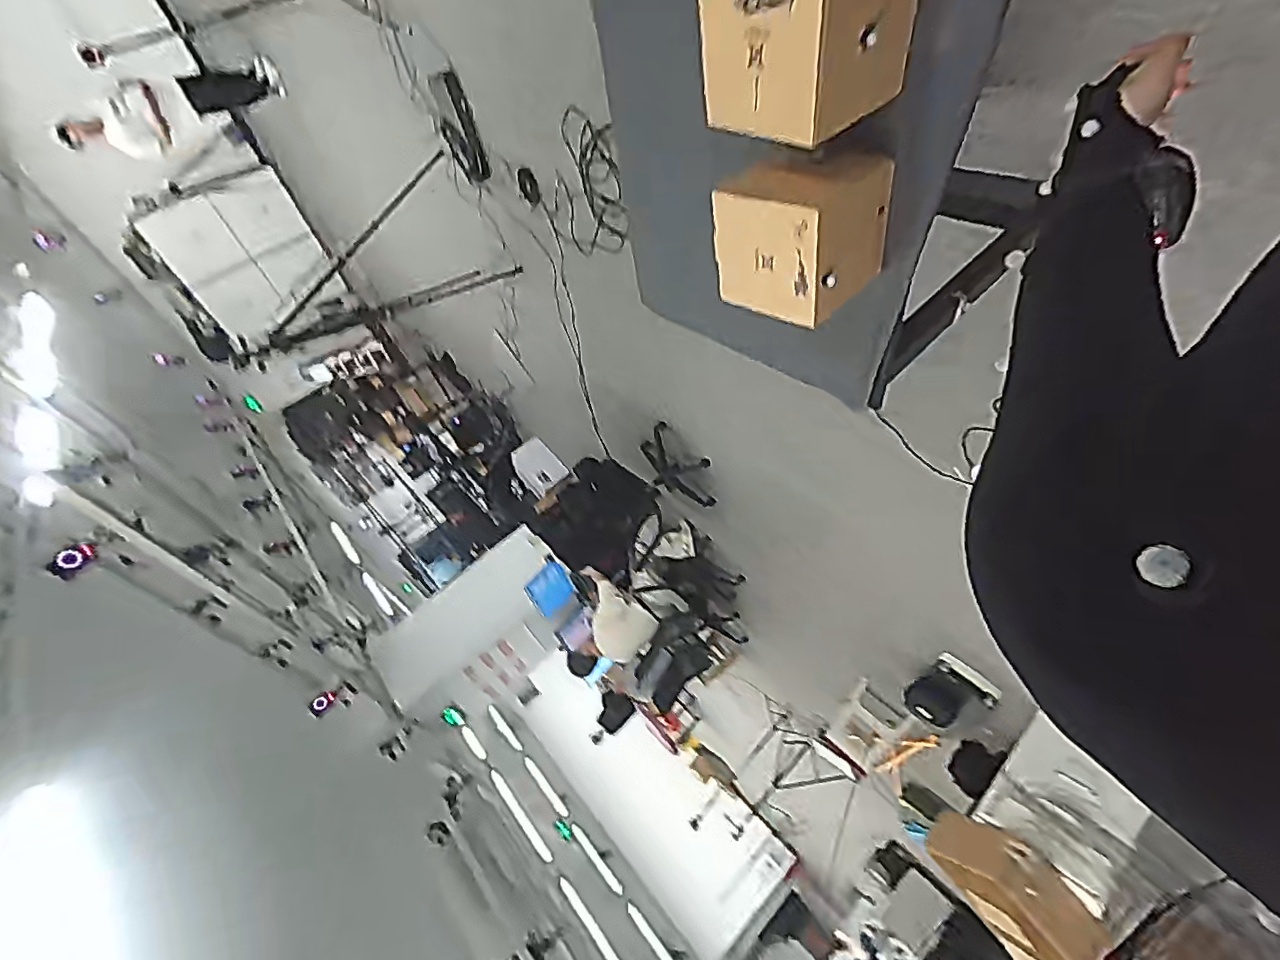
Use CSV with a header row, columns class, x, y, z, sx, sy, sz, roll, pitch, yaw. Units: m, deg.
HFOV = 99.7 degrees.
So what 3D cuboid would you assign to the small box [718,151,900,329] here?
class,x,y,z,sx,sy,sz,roll,pitch,yaw
small box,0.238,-0.352,0.780,0.179,0.176,0.168,35,156,37
